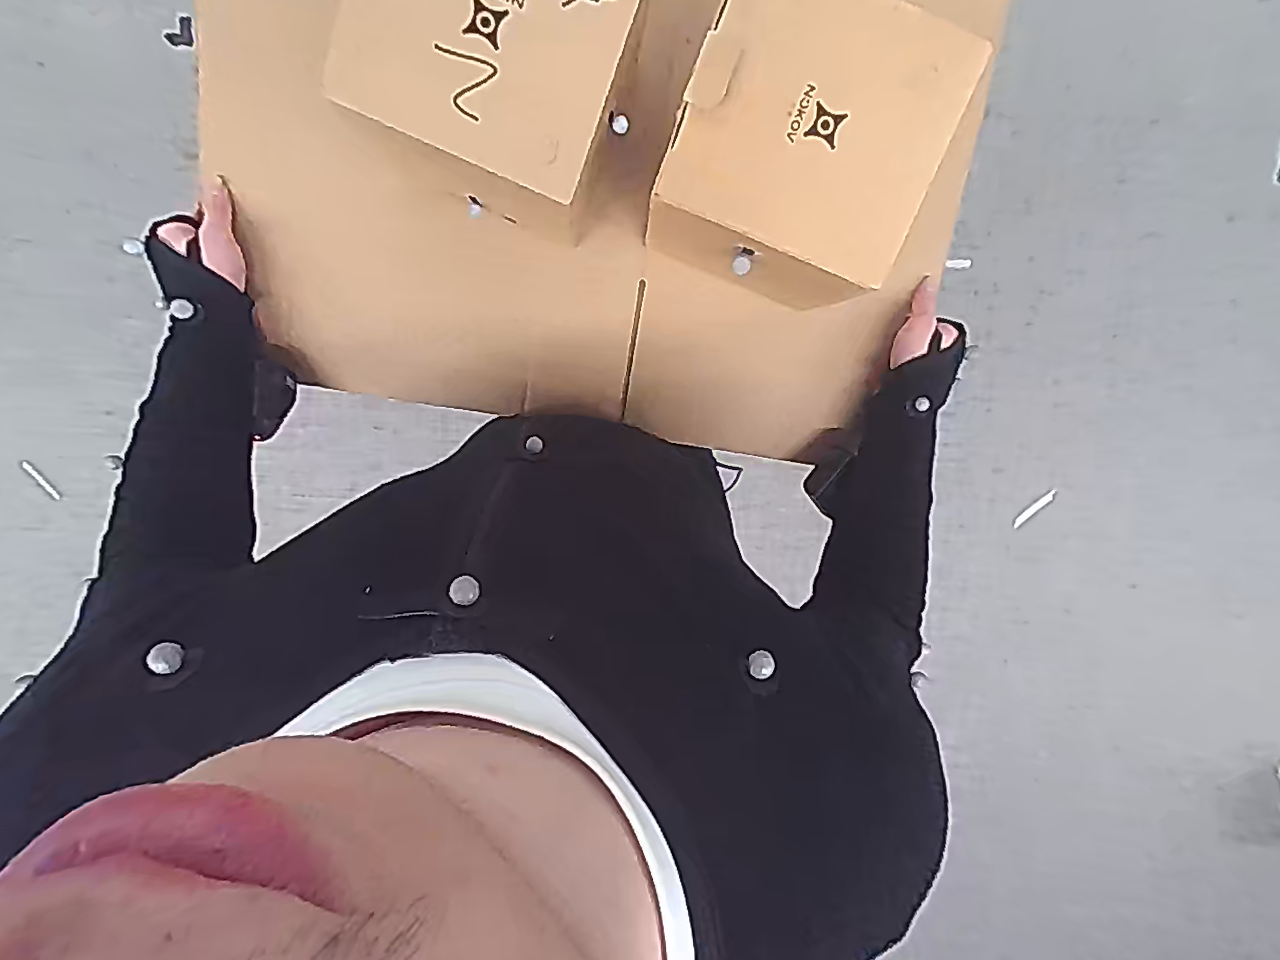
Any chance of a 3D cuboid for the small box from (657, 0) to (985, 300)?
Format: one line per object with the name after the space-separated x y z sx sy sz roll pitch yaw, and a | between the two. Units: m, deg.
0.124 -0.261 0.449 0.179 0.176 0.168 21 101 -4 | small box
